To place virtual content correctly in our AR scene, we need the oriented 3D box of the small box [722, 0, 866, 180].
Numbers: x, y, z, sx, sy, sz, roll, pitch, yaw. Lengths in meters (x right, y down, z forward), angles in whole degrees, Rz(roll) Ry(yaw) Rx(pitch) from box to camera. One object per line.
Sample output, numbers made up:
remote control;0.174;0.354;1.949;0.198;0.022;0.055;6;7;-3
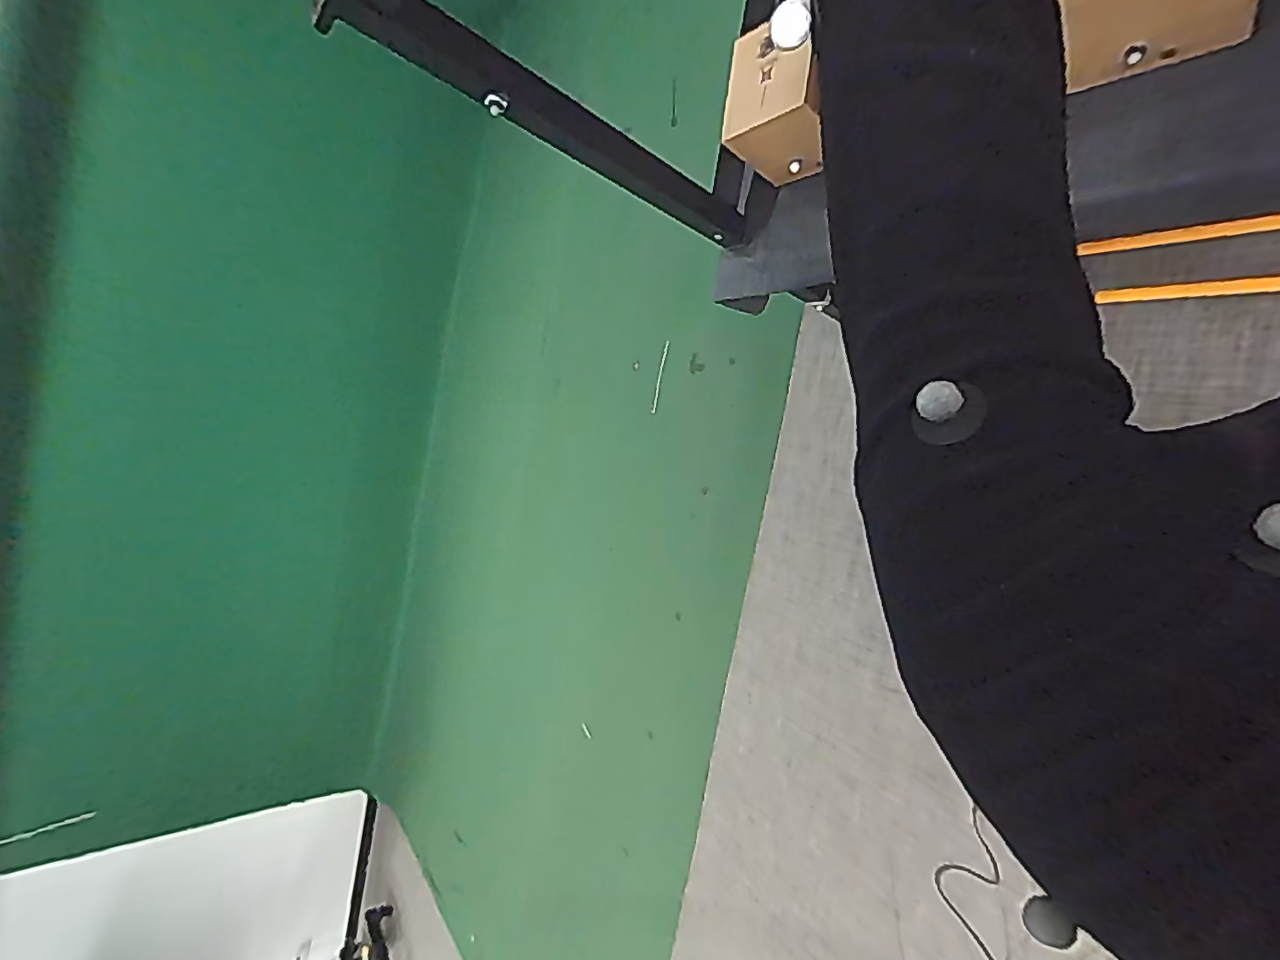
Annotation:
small box;0.264;-0.645;0.904;0.168;0.176;0.179;10;92;49
